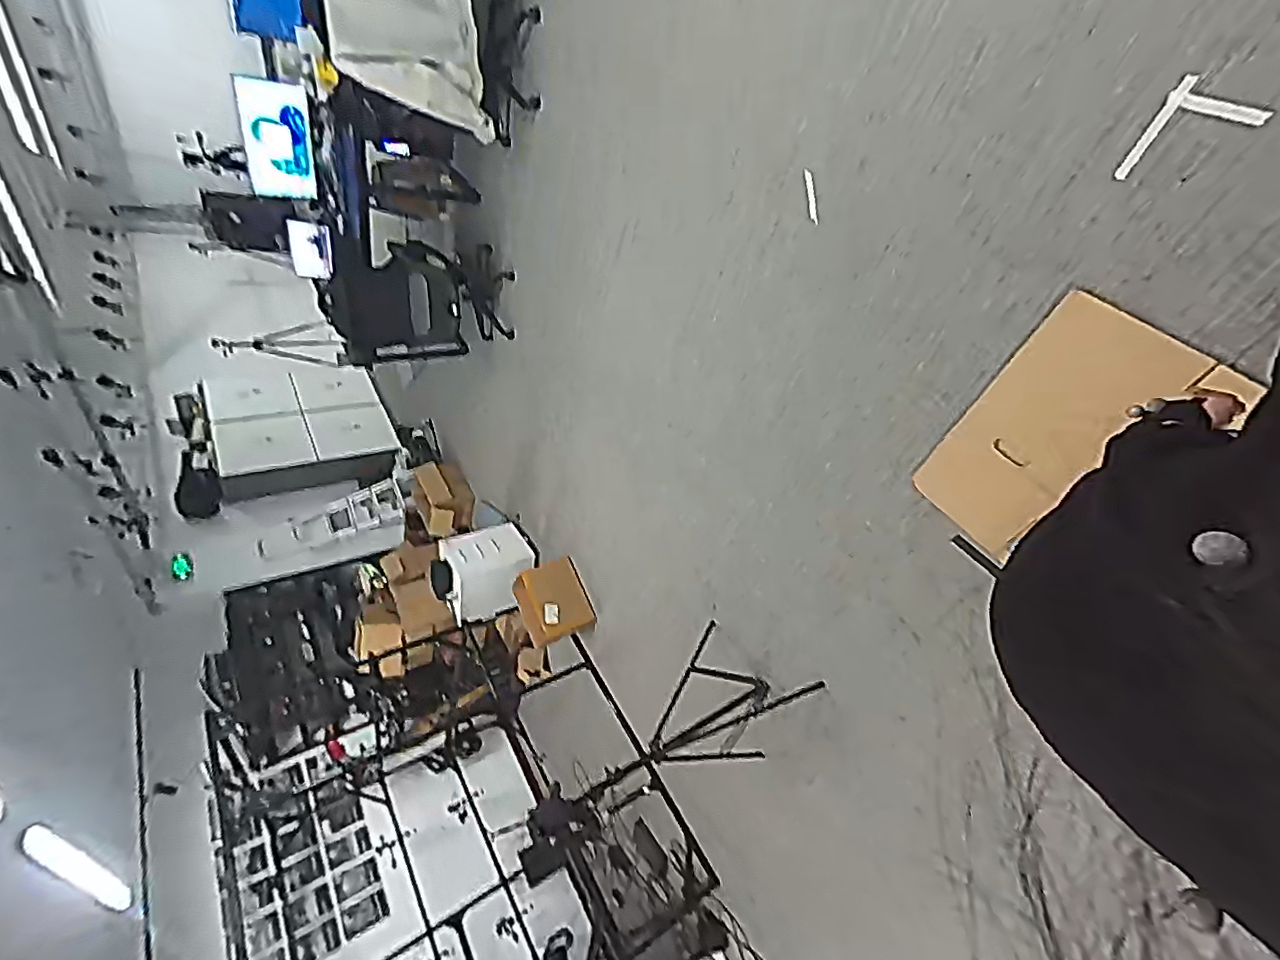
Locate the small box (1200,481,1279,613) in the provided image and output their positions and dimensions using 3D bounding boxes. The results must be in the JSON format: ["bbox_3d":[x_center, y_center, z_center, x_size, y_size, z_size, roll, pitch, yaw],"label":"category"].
[{"bbox_3d":[1.144,0.122,0.940,0.168,0.176,0.179,40,132,40],"label":"small box"}]
